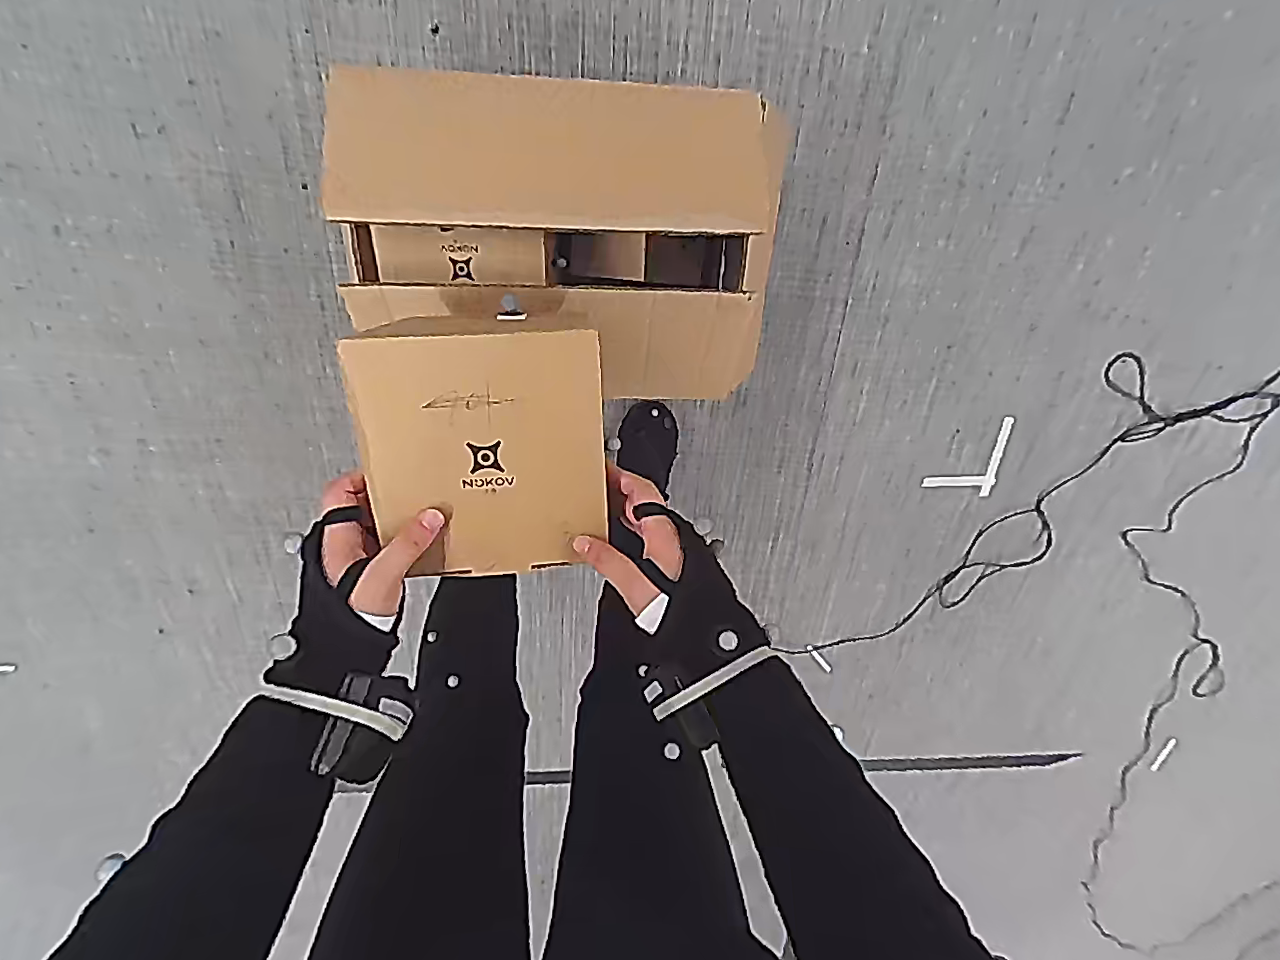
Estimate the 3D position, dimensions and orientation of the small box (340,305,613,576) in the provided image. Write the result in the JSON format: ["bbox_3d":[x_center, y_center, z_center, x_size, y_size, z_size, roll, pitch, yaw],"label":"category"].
[{"bbox_3d":[-0.111,-0.044,0.442,0.168,0.176,0.179,-4,112,-6],"label":"small box"}]
